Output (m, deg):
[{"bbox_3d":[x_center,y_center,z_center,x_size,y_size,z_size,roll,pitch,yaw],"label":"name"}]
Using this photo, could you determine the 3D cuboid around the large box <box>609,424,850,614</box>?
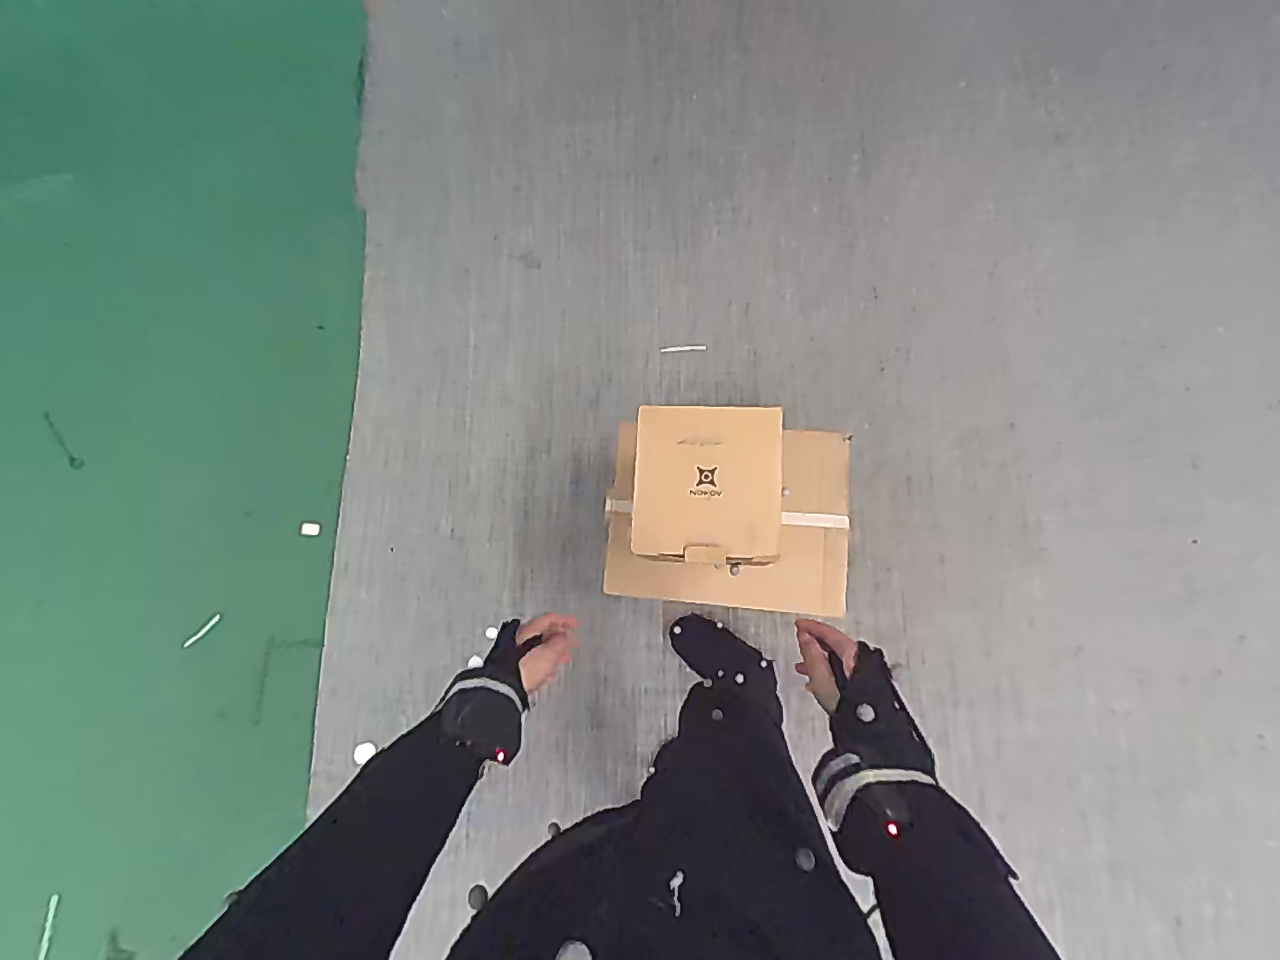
[{"bbox_3d":[0.169,0.085,1.073,0.408,0.320,0.320,4,81,8],"label":"large box"}]

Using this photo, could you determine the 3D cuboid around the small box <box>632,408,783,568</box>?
[{"bbox_3d":[0.086,0.018,0.683,0.168,0.176,0.179,1,78,7],"label":"small box"}]
